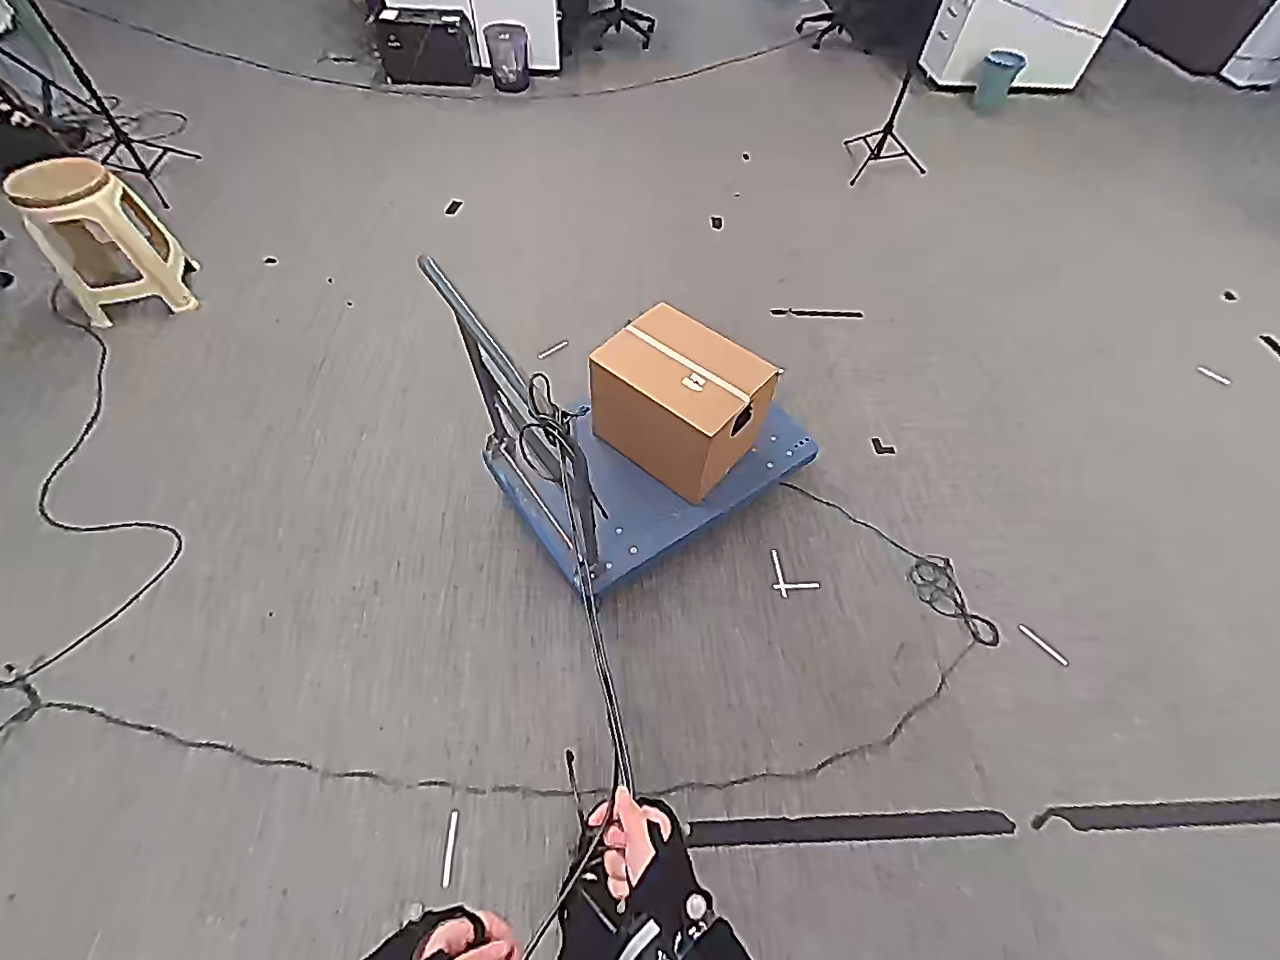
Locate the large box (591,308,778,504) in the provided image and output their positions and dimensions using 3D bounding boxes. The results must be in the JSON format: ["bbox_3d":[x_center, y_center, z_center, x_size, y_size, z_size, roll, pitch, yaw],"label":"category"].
[{"bbox_3d":[0.106,-0.210,1.532,0.408,0.320,0.320,36,61,19],"label":"large box"}]
